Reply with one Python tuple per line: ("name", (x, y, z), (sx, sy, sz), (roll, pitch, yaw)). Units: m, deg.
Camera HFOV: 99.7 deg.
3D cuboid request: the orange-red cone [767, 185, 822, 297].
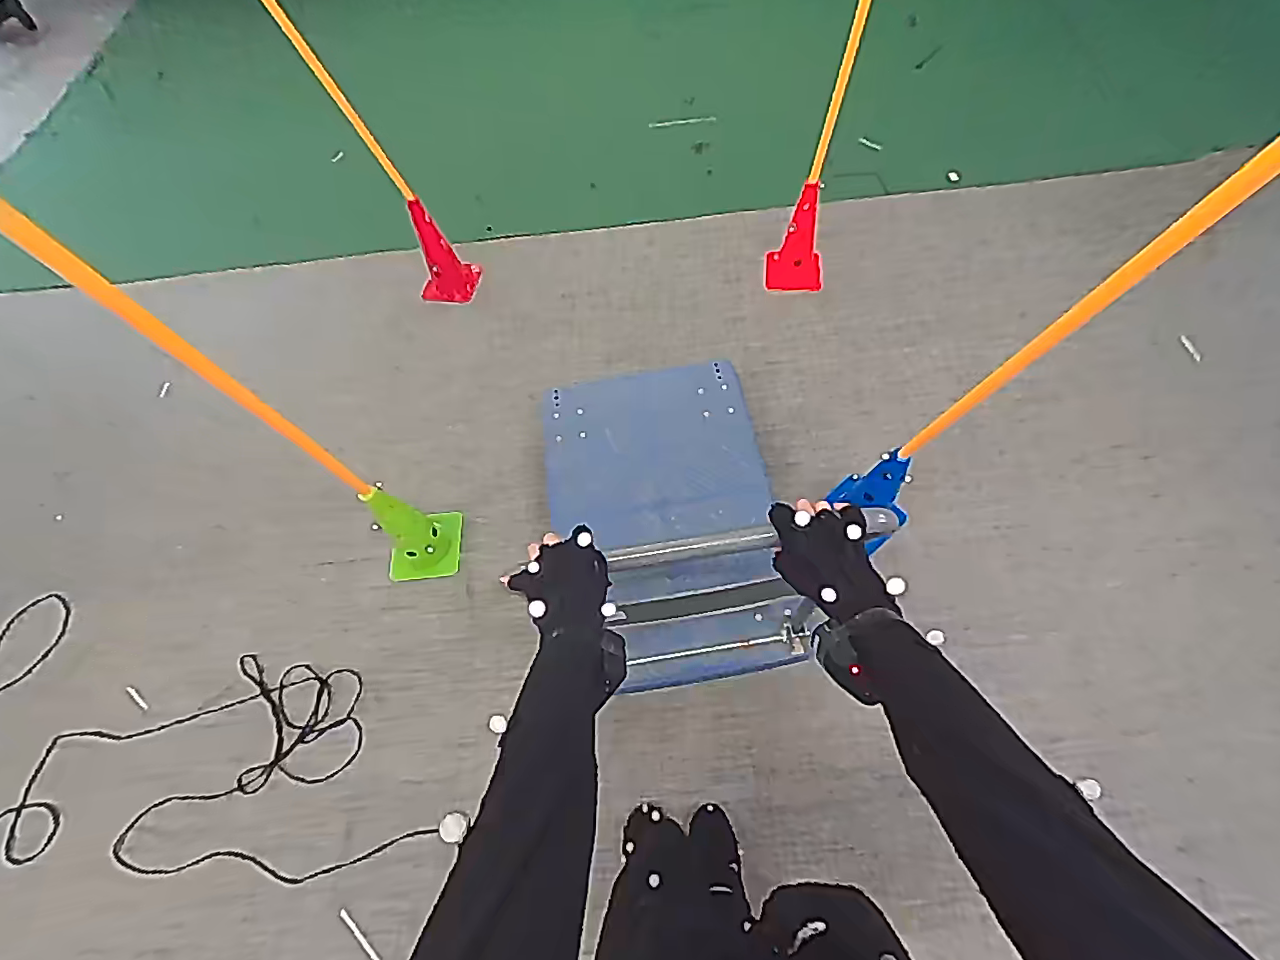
("orange-red cone", (0.556, -0.828, 1.845), (0.198, 0.360, 0.199), (5, 63, 8))
